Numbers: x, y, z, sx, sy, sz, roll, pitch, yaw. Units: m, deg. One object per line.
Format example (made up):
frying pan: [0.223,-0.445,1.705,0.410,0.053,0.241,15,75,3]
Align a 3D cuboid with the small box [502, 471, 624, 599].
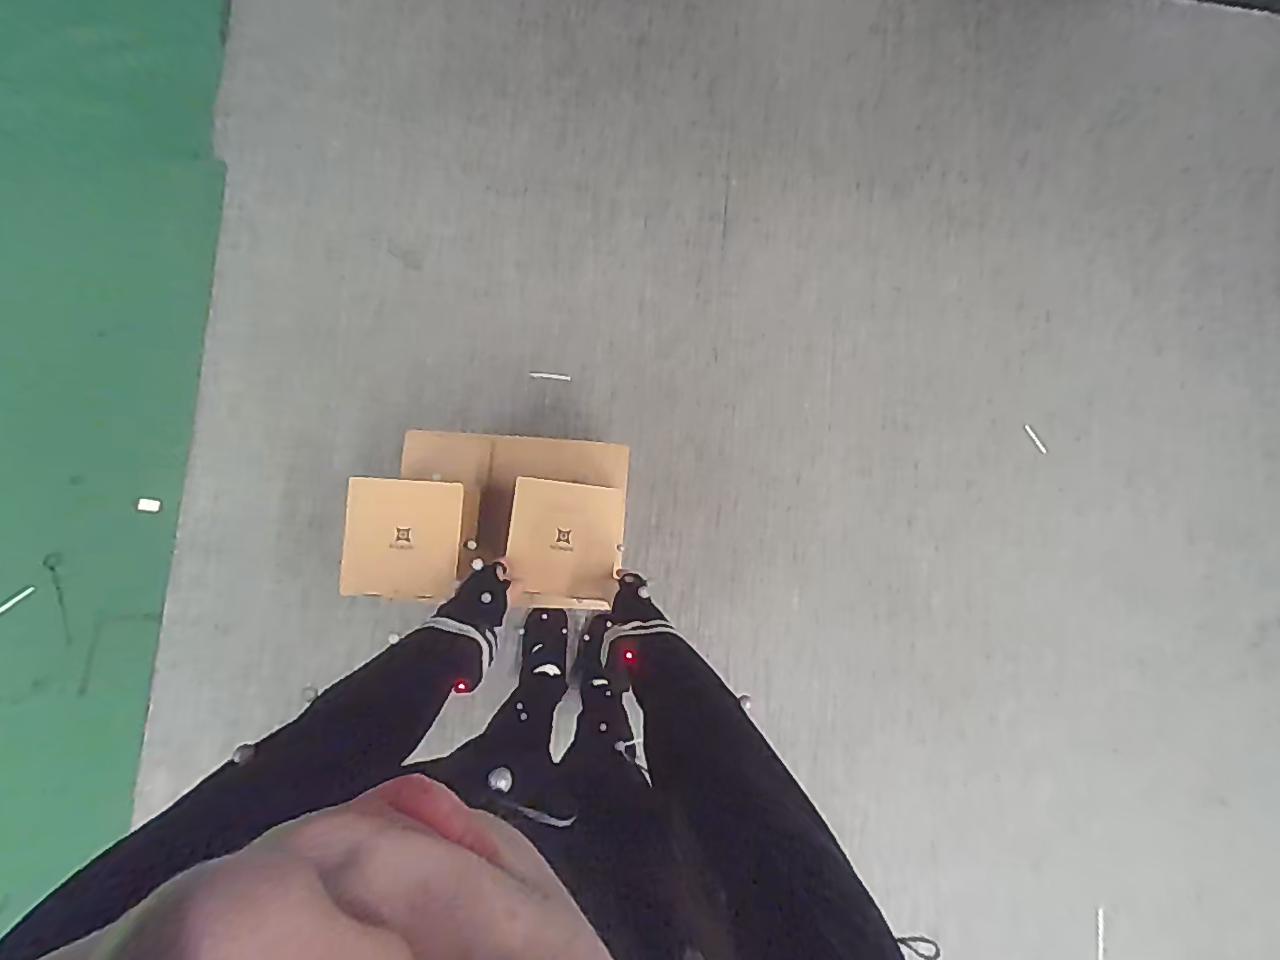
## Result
small box: [-0.121,0.089,0.898,0.168,0.176,0.179,8,85,-4]

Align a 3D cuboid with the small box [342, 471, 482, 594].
small box: [-0.357,0.081,0.879,0.168,0.176,0.179,4,88,-6]
